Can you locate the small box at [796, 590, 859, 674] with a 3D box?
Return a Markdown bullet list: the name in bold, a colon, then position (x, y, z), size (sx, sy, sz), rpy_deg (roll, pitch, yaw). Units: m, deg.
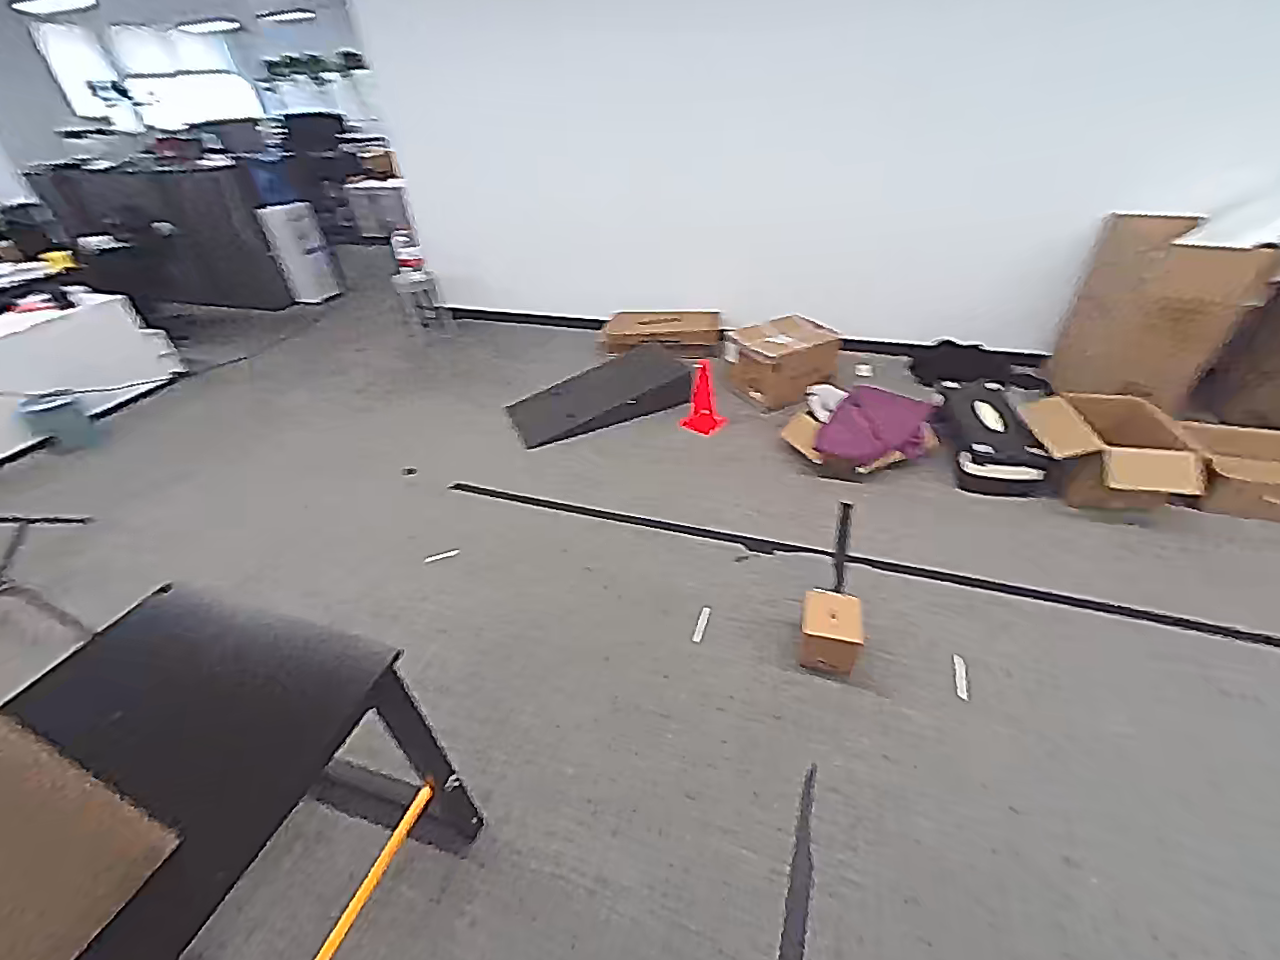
- **small box**: position (0.587, 0.477, 1.703), size (0.168, 0.176, 0.179), rpy_deg (6, 40, 14)
